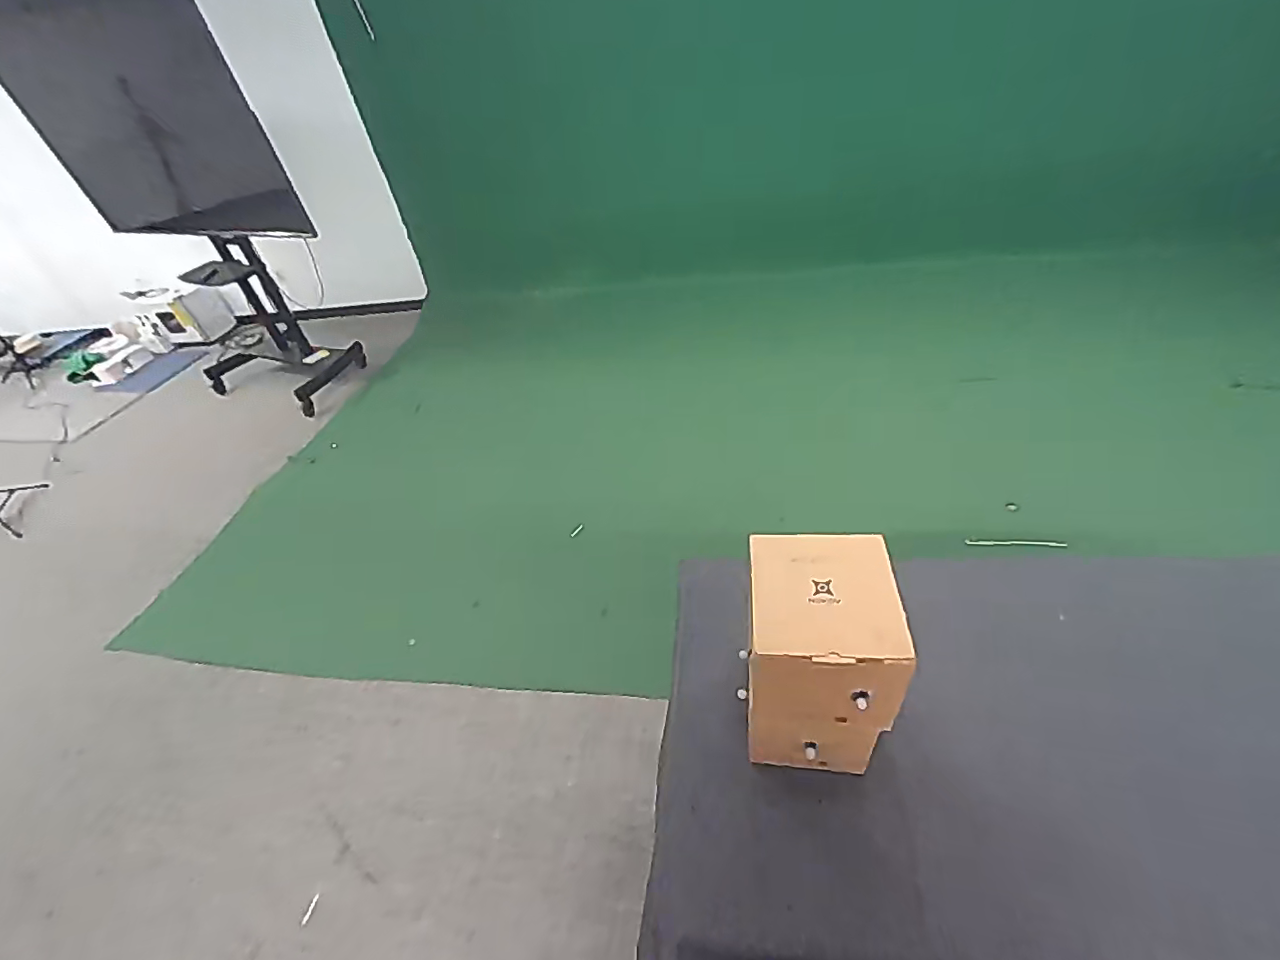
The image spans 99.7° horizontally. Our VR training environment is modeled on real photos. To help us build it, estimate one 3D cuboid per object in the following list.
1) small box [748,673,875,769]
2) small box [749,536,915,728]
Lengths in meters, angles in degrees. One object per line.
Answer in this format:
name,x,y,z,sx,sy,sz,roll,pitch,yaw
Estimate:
small box,0.246,0.302,0.797,0.168,0.176,0.179,1,42,11
small box,0.224,0.190,0.681,0.168,0.176,0.179,0,41,9
